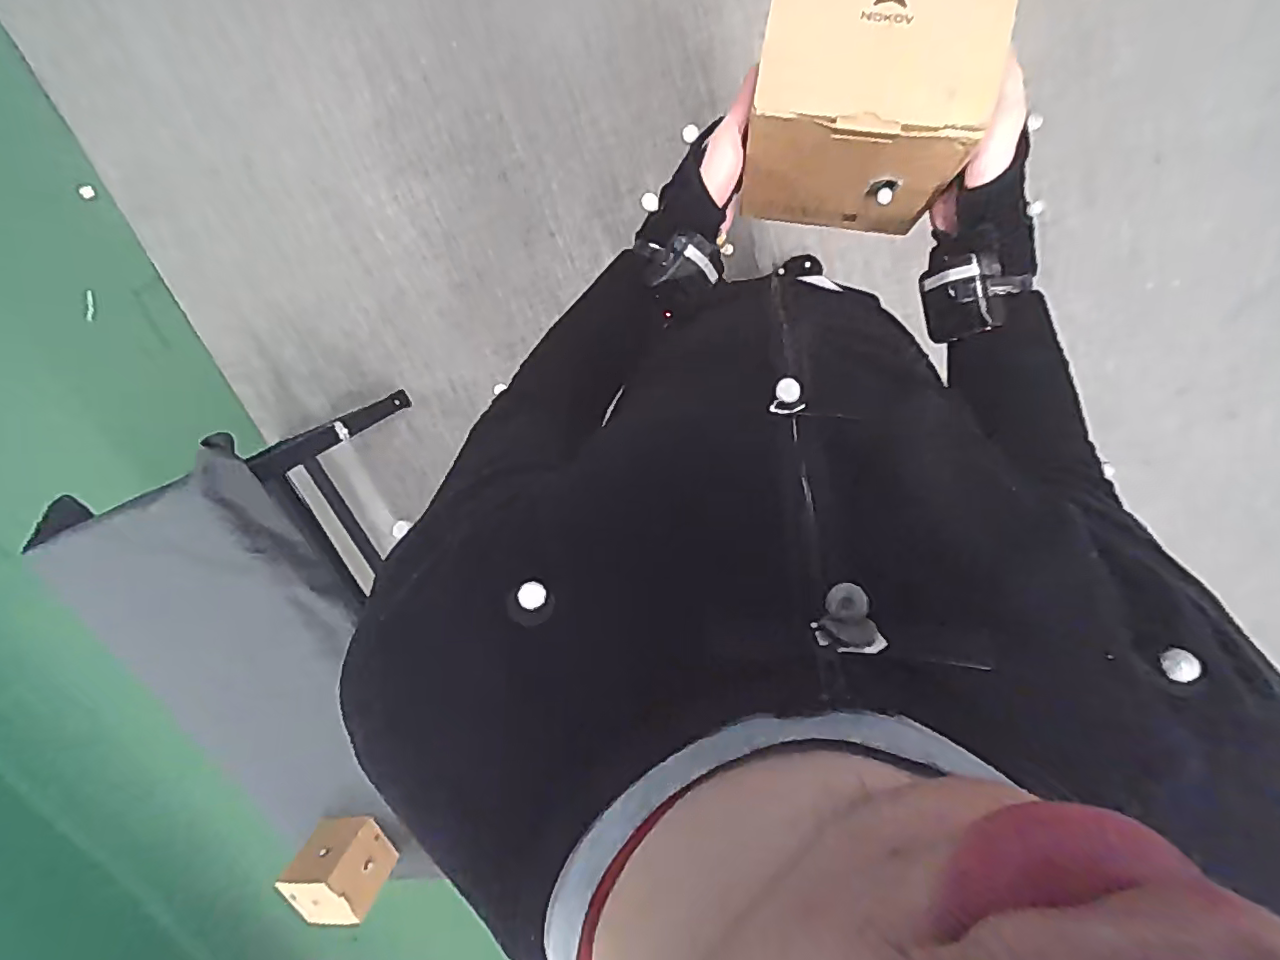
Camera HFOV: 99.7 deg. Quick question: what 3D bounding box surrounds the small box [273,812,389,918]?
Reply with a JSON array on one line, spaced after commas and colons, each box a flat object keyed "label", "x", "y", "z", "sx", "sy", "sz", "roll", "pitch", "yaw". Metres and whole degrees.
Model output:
[{"label": "small box", "x": -0.786, "y": 0.995, "z": 1.404, "sx": 0.179, "sy": 0.176, "sz": 0.168, "roll": -14, "pitch": 110, "yaw": 17}]

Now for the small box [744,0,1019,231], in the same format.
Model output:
[{"label": "small box", "x": 0.186, "y": -0.336, "z": 0.456, "sx": 0.168, "sy": 0.176, "sz": 0.179, "roll": 10, "pitch": 91, "yaw": 5}]
